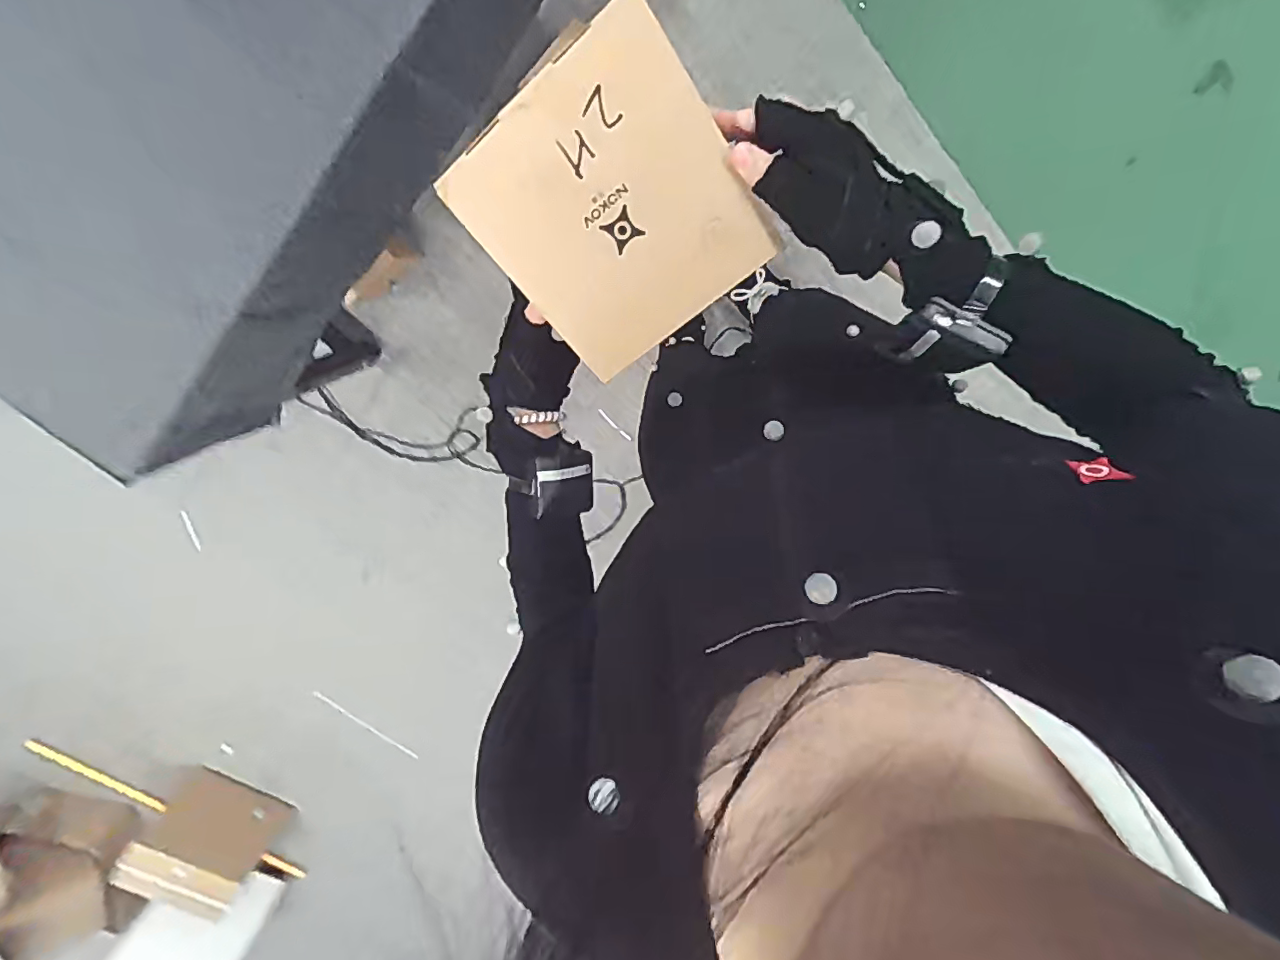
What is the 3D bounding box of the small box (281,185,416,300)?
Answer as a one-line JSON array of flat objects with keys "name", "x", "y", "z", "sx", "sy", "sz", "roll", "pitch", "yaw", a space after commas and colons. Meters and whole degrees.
[{"name": "small box", "x": -0.662, "y": -0.541, "z": 1.249, "sx": 0.168, "sy": 0.176, "sz": 0.179, "roll": -34, "pitch": 107, "yaw": 16}]
